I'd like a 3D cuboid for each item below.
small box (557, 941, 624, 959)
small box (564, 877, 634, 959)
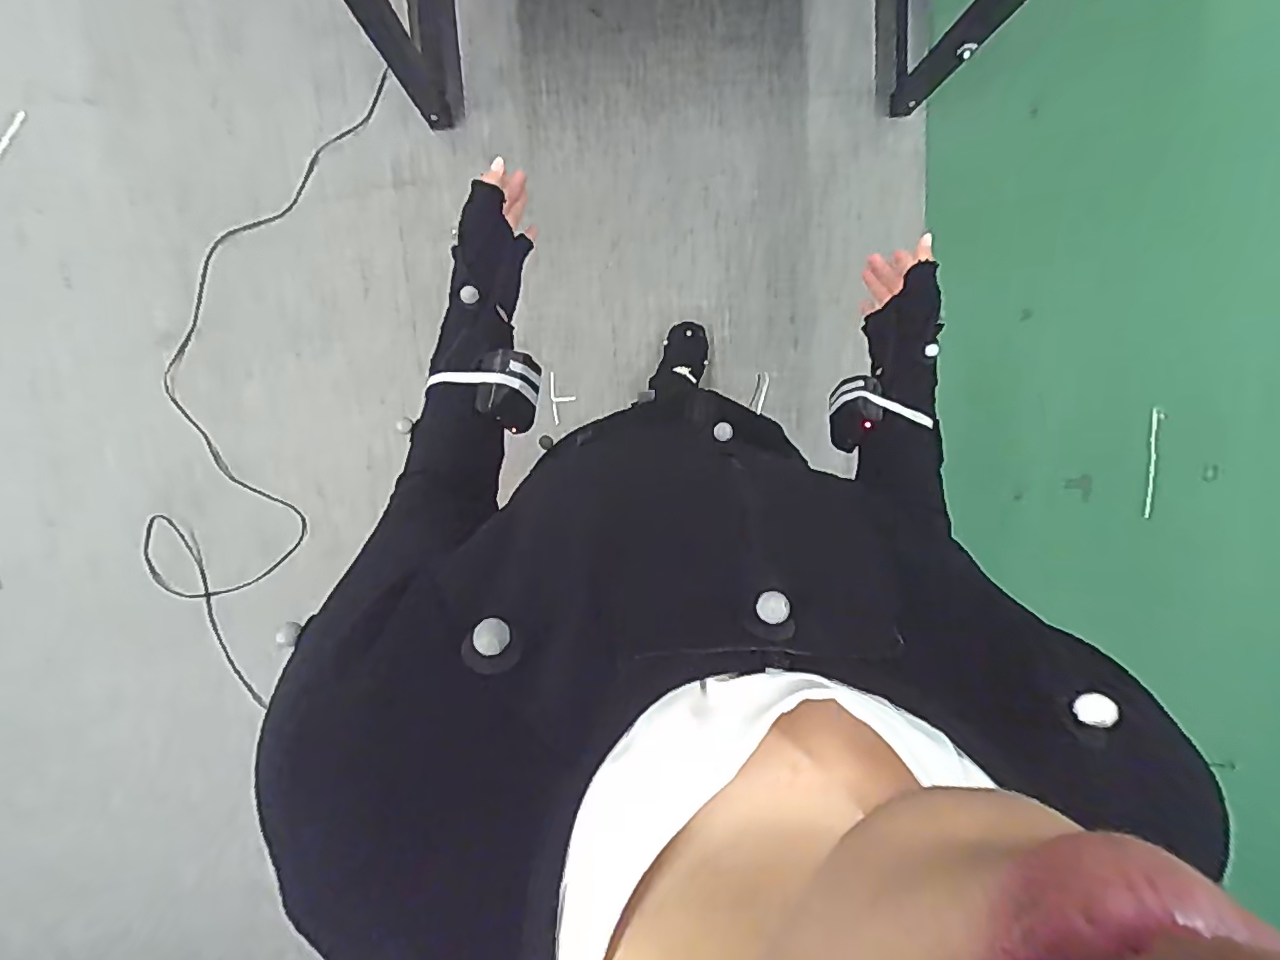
[{"bbox_3d":[-0.118,1.285,1.331,0.168,0.176,0.179,-6,99,-3],"label":"small box"},{"bbox_3d":[-0.116,1.256,1.511,0.168,0.176,0.179,-11,99,-3],"label":"small box"}]
